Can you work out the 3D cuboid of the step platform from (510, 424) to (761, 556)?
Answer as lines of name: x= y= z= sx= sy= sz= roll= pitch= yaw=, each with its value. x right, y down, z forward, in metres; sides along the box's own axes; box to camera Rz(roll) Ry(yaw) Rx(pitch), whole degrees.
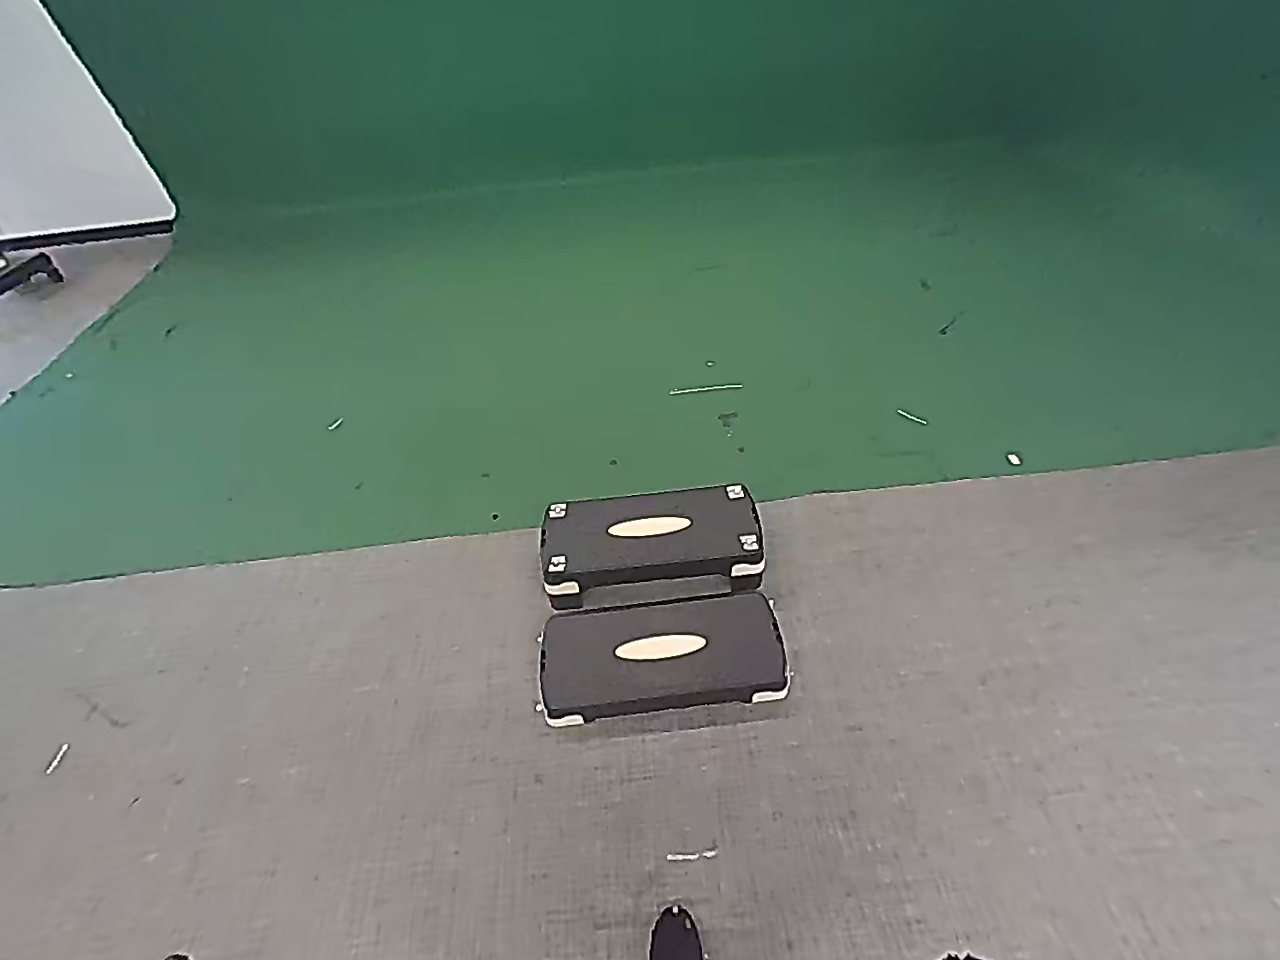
step platform: x=-0.012 y=0.030 z=1.556 sx=0.684 sy=0.204 sz=0.286 roll=-7 pitch=49 yaw=0
